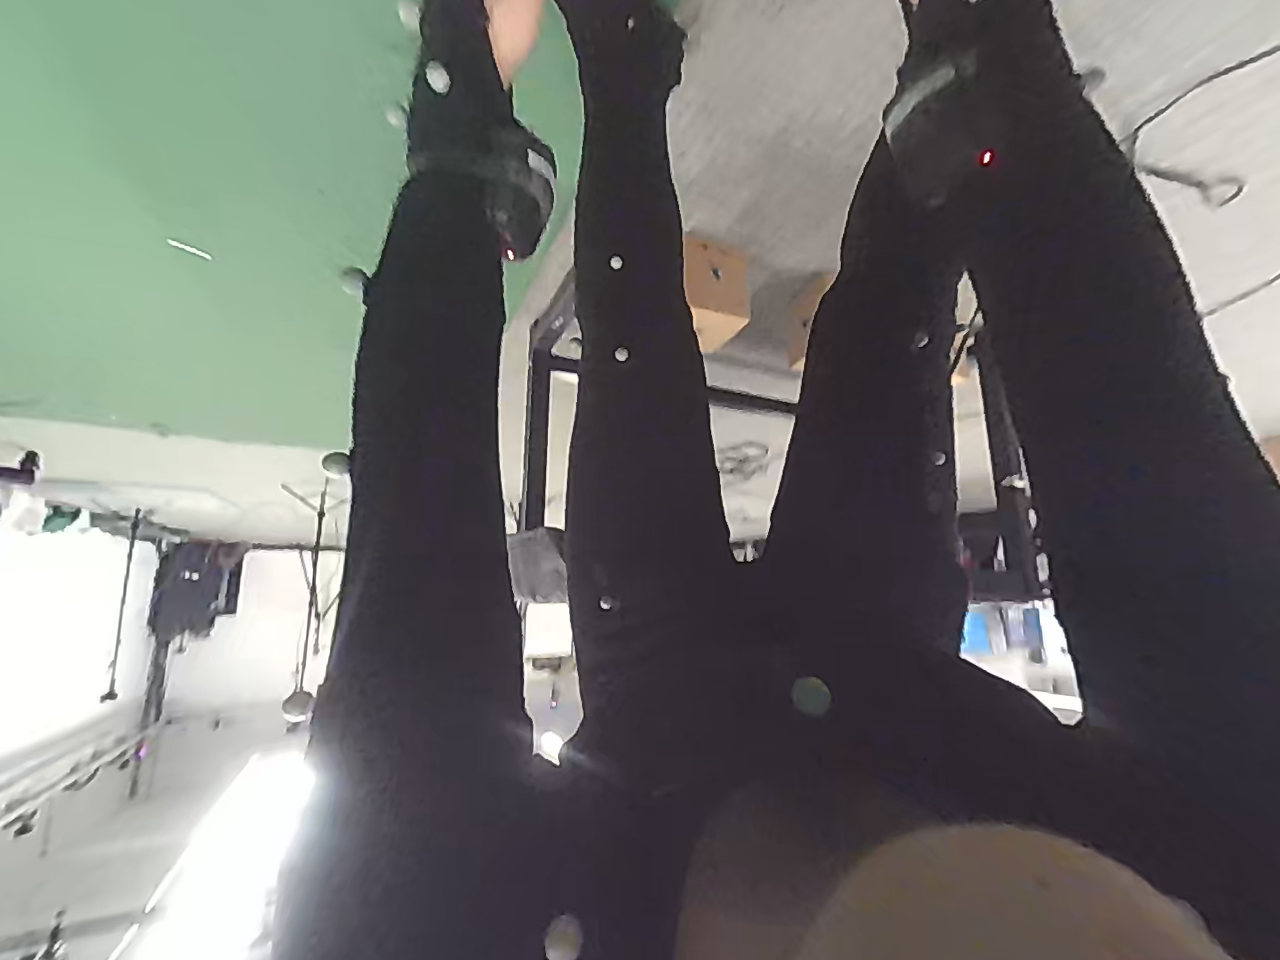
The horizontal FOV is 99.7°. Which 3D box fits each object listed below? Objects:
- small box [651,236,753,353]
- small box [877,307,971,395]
[{"bbox_3d":[0.127,-0.398,1.176,0.168,0.176,0.179,5,167,-20],"label":"small box"},{"bbox_3d":[0.762,-0.344,1.454,0.179,0.176,0.168,8,165,-37],"label":"small box"}]
